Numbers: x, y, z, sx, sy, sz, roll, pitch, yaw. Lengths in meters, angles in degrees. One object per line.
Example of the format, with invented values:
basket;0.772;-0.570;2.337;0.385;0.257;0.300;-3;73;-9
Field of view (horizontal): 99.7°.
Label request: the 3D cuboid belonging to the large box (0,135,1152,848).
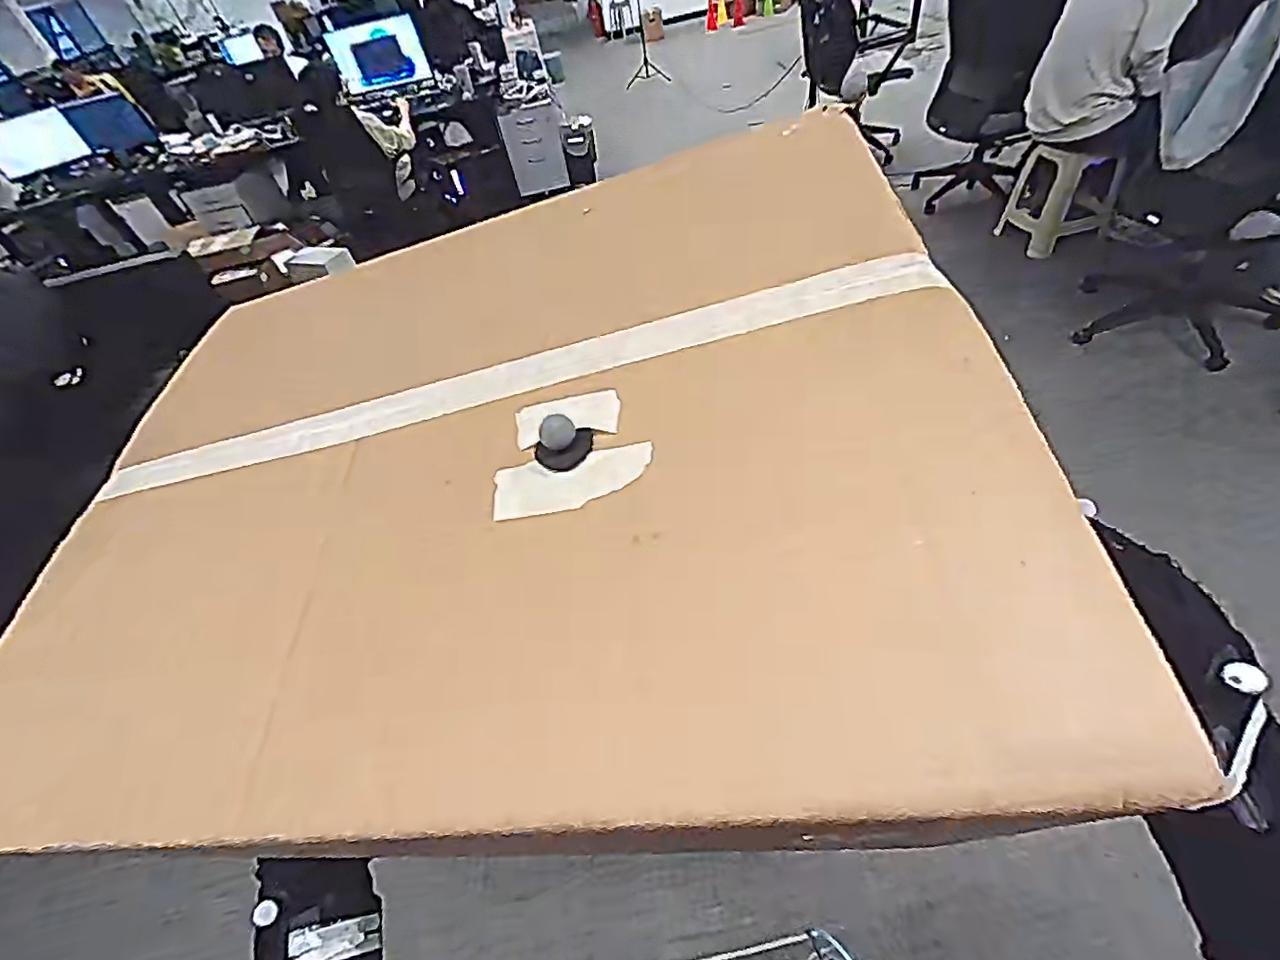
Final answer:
large box;-0.030;0.053;0.368;0.408;0.320;0.320;-11;54;14
